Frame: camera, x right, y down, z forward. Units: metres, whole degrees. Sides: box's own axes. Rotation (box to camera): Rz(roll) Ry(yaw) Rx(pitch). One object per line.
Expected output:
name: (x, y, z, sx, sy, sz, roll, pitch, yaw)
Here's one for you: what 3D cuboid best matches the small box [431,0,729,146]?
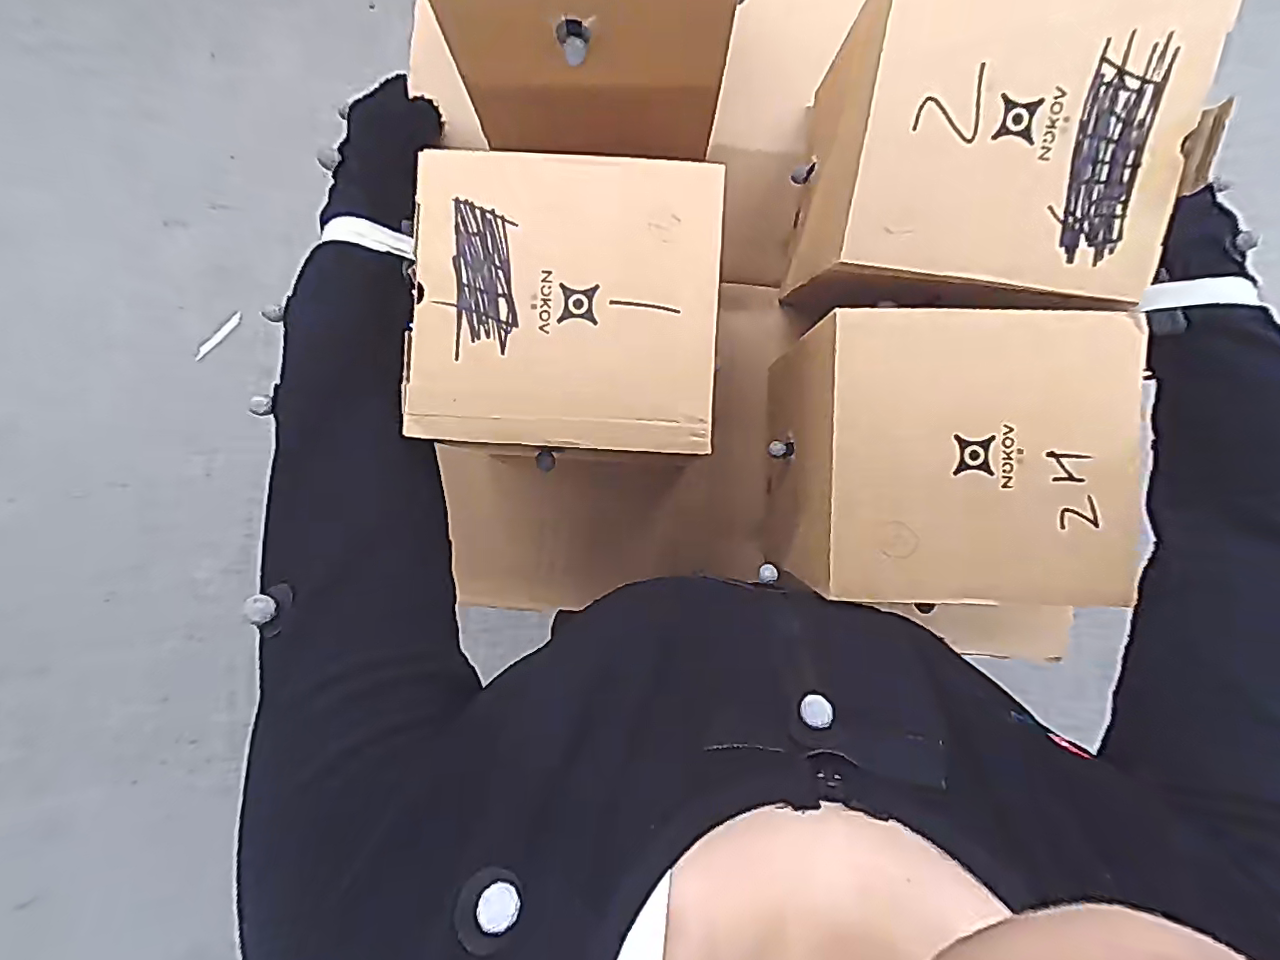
small box: (-0.034, -0.356, 0.366, 0.179, 0.176, 0.168, 0, 89, 1)
